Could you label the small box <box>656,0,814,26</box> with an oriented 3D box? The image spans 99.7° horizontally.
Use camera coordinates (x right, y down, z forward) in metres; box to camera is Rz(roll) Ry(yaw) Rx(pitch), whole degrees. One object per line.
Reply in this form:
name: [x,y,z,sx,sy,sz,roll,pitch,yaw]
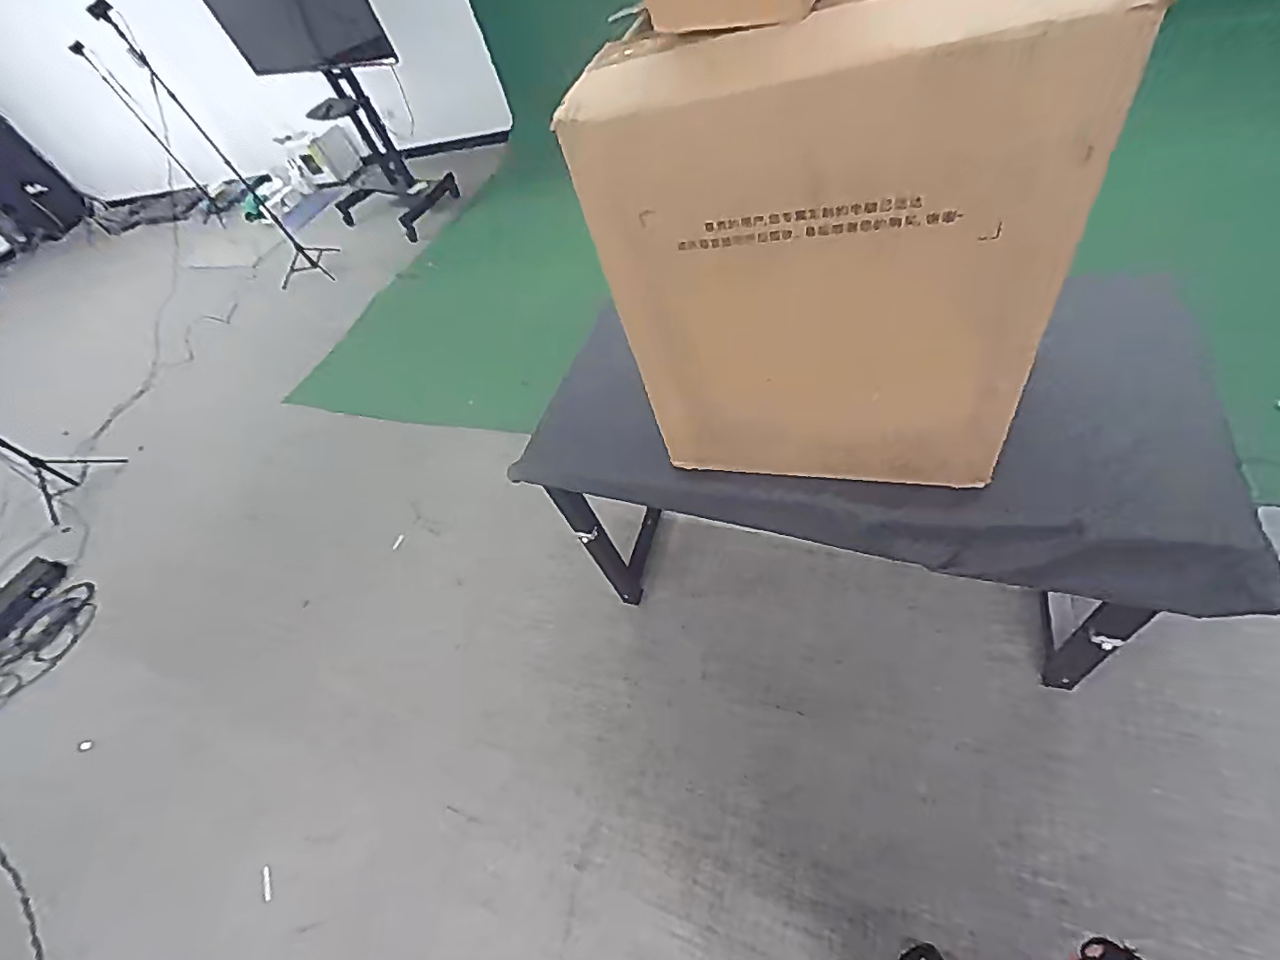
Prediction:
small box: [0.102,-0.589,0.530,0.179,0.176,0.168,19,73,27]
